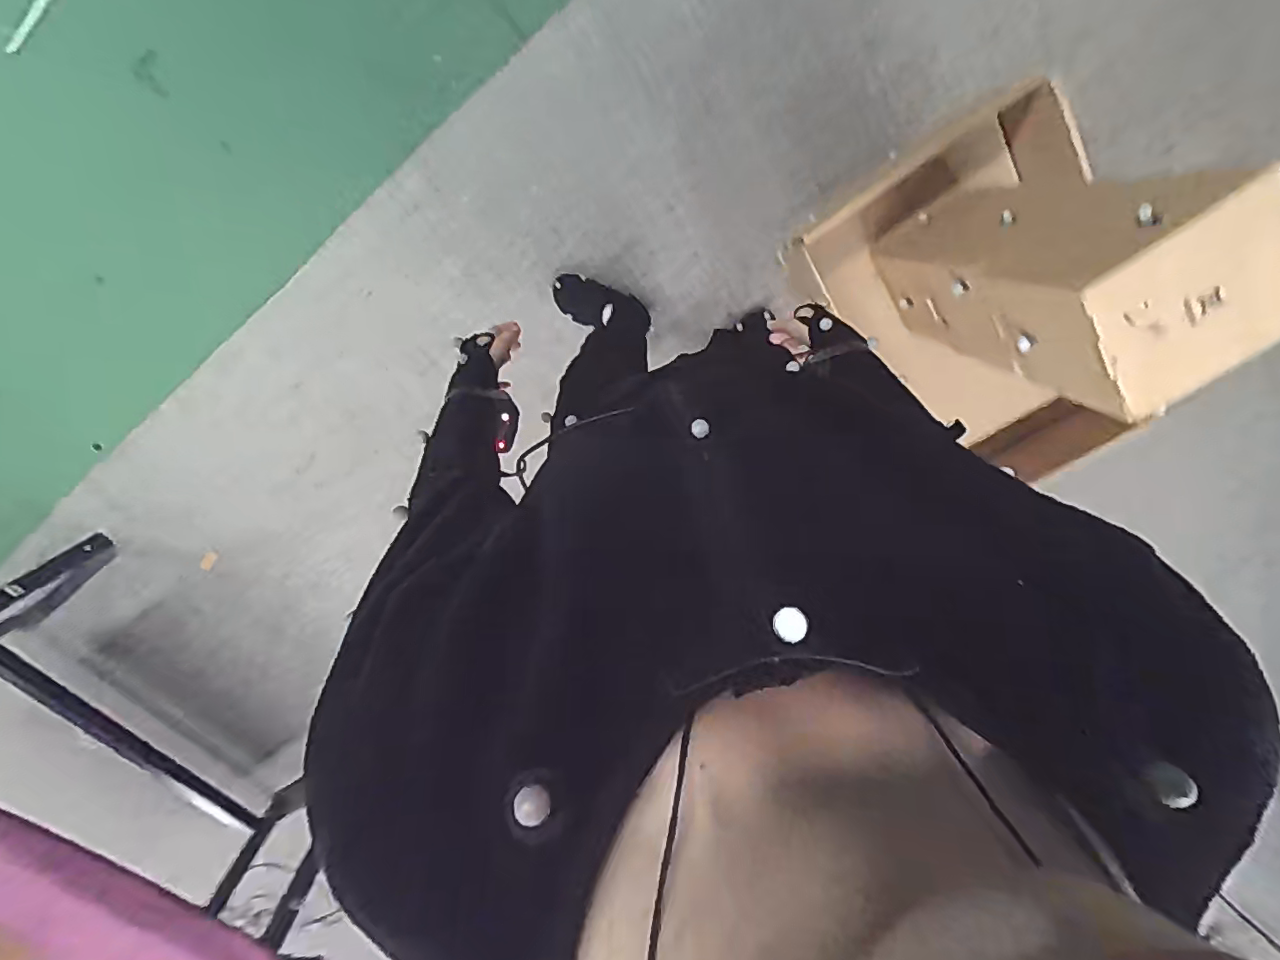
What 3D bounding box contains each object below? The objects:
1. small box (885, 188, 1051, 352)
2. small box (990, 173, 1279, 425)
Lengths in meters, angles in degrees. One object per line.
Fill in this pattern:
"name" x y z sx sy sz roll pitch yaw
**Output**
"small box" 0.523 -0.338 0.873 0.179 0.176 0.168 -33 112 15
"small box" 0.529 -0.194 0.577 0.179 0.176 0.168 -34 110 14
